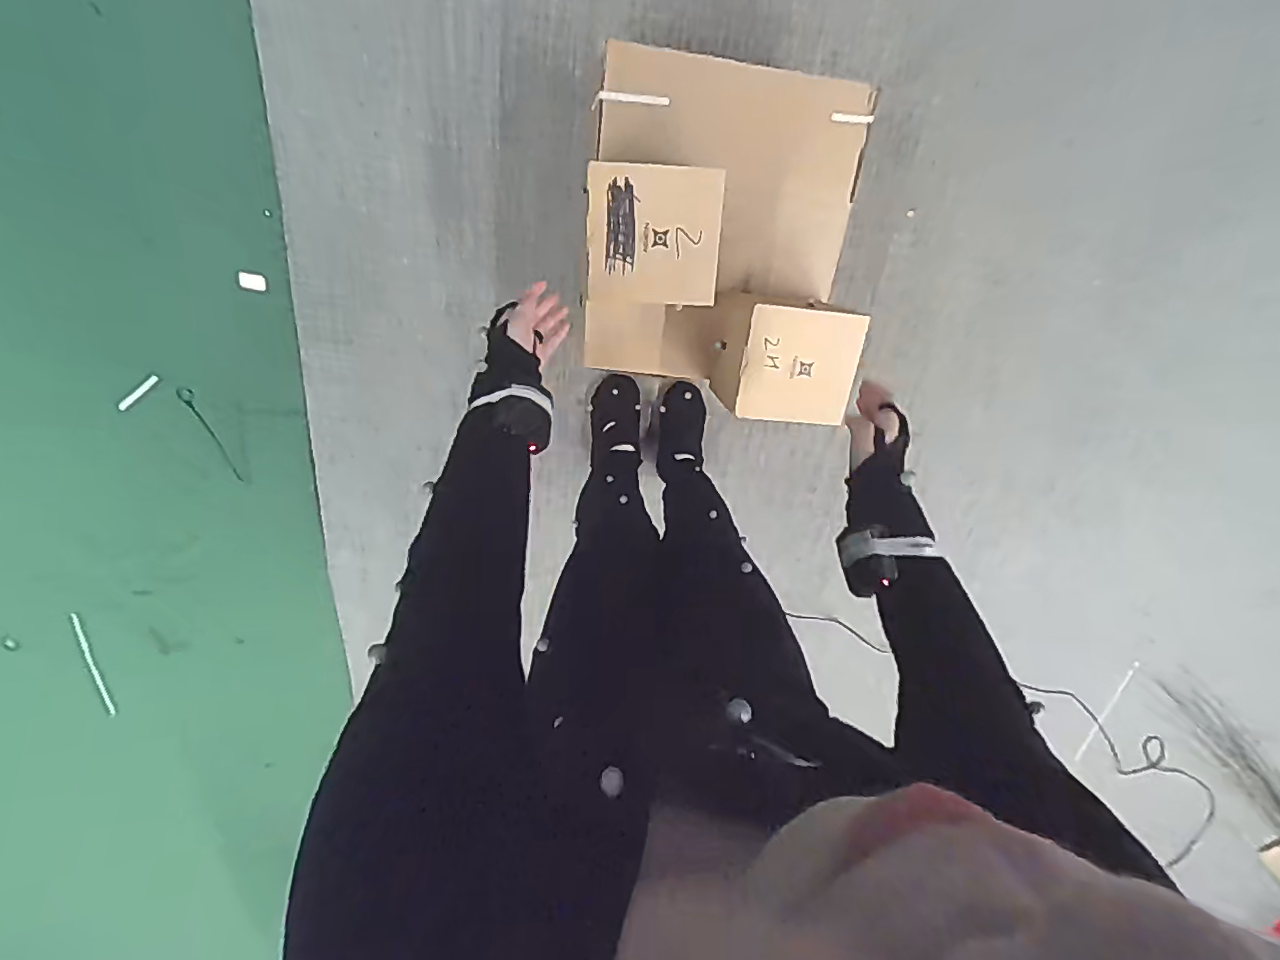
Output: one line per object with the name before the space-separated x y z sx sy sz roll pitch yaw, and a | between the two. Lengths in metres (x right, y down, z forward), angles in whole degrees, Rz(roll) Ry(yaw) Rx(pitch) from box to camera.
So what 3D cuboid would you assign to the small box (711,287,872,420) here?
small box | 0.225 -0.205 0.855 0.179 0.176 0.168 4 114 -8
